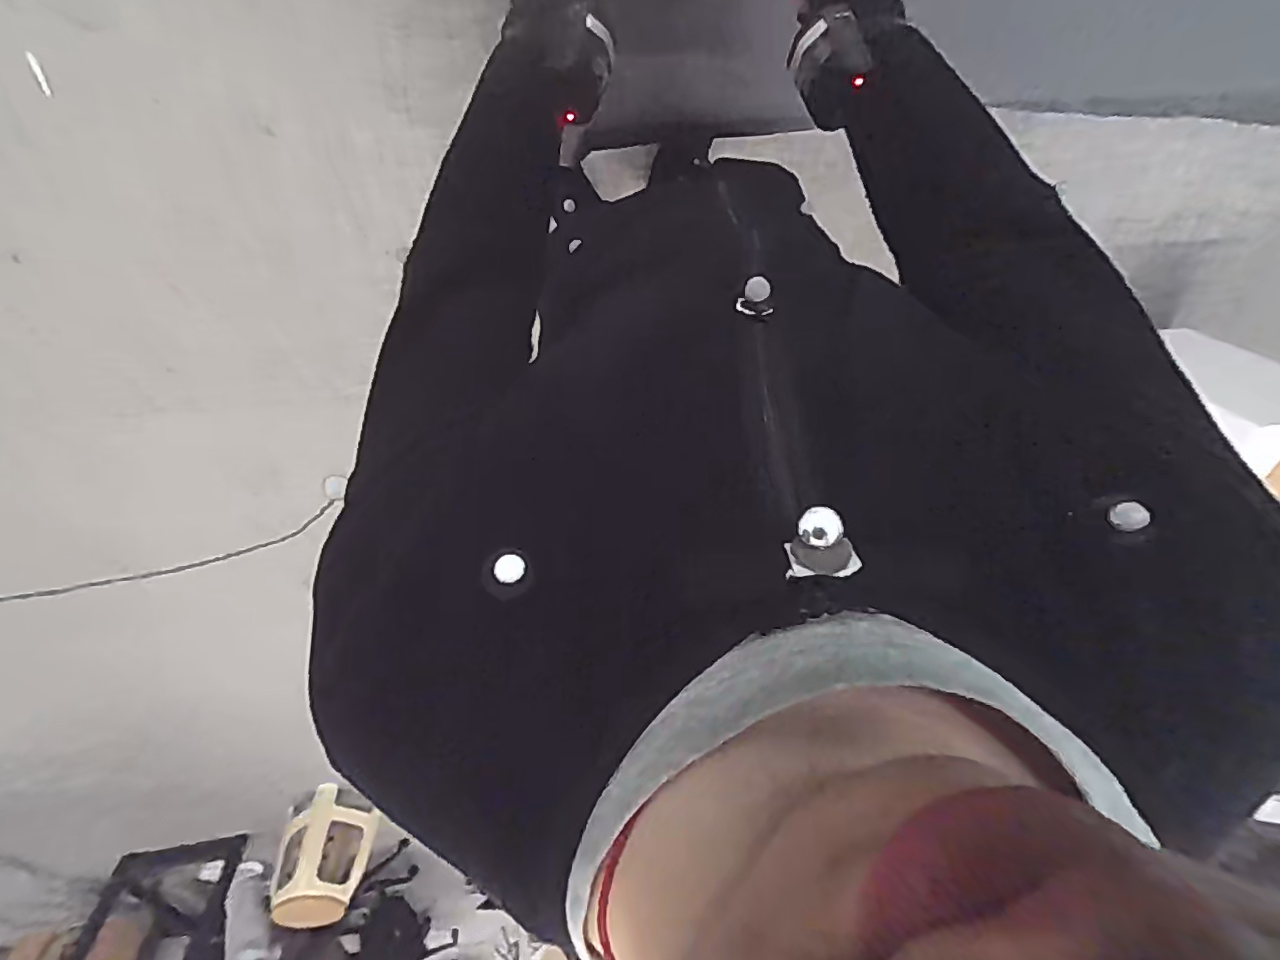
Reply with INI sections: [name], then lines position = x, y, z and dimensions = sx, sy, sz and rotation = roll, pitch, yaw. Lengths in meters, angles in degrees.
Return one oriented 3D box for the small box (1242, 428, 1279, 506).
[small box]
position = 1.609, -0.024, 1.276
dimensions = 0.168, 0.176, 0.179
rotation = -8, 127, -8
